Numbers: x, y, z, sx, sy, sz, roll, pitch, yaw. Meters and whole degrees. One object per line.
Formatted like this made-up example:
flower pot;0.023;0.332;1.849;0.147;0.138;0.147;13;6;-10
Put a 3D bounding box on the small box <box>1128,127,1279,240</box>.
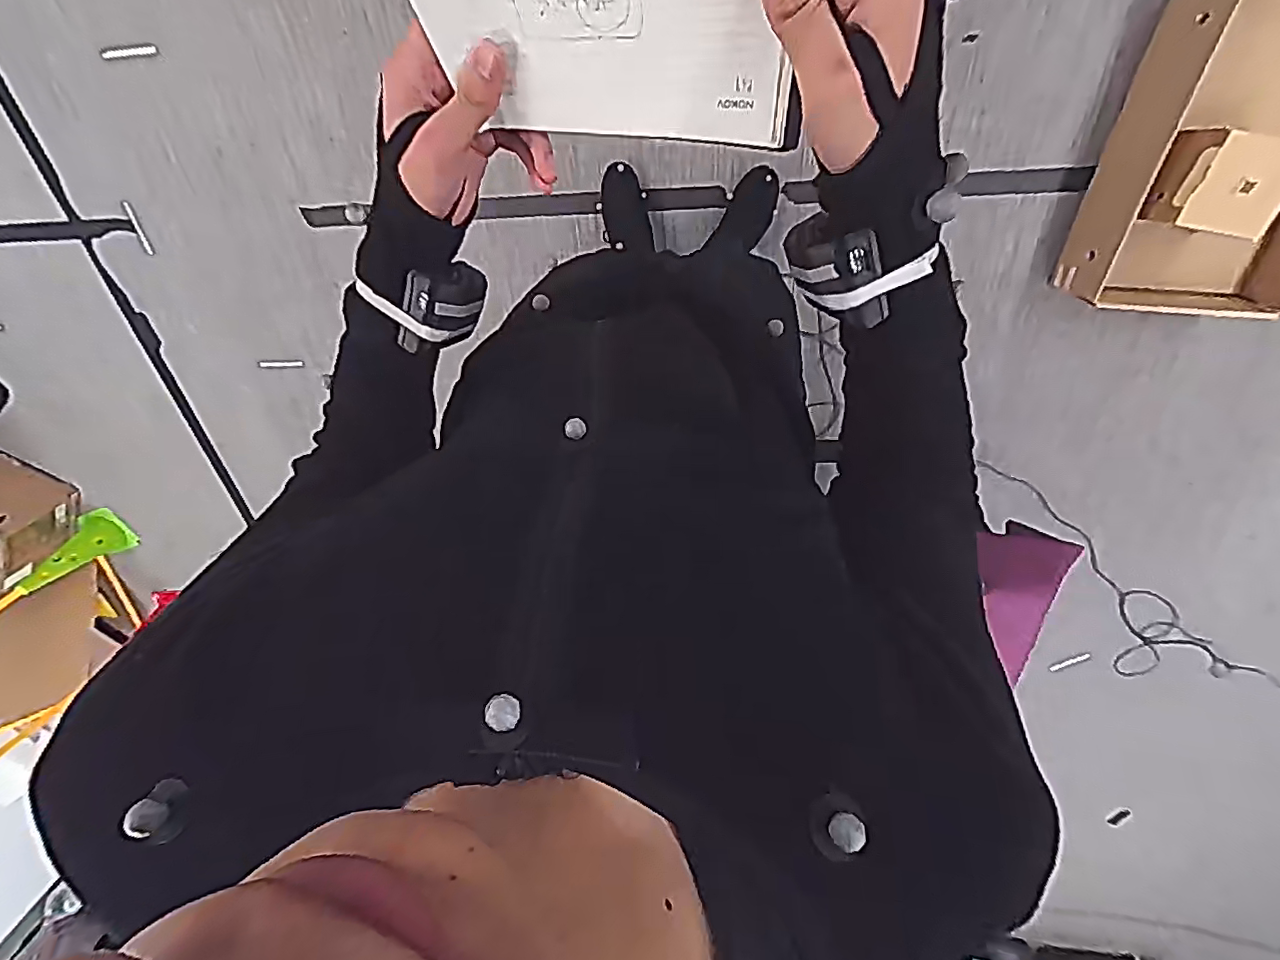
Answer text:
small box;1.167;-0.601;1.098;0.179;0.176;0.168;12;123;1
